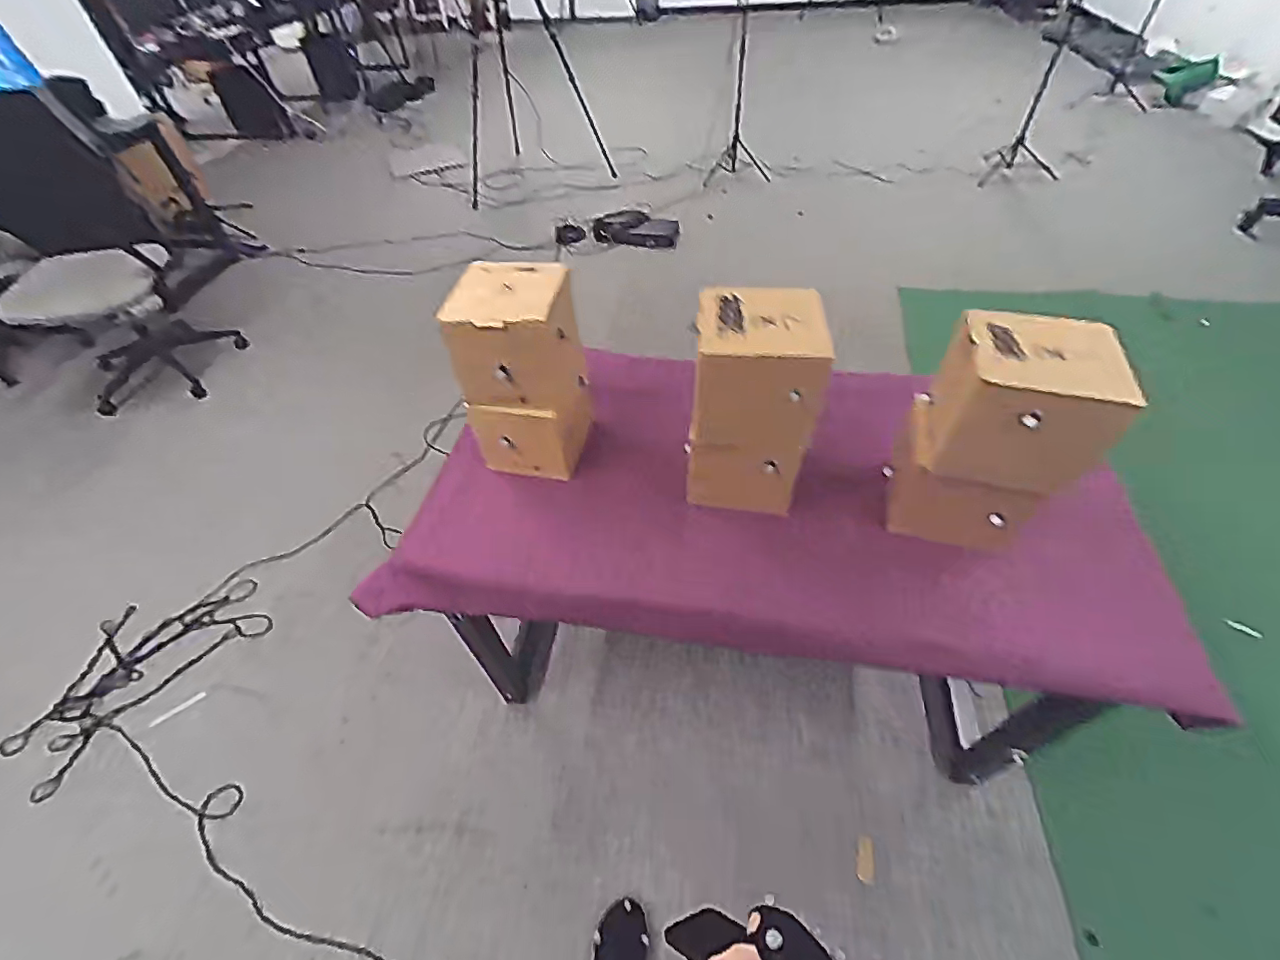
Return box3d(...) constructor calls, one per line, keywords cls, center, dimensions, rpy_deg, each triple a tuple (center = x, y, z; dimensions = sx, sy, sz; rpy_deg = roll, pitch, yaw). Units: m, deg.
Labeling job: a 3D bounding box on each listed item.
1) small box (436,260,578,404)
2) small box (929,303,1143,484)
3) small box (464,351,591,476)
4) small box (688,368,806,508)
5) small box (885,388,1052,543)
box3d(cls="small box", center=(-0.205, -0.242, 0.895), dimensions=(0.168, 0.176, 0.179), rpy_deg=(3, 50, 6))
box3d(cls="small box", center=(0.507, -0.115, 0.730), dimensions=(0.179, 0.176, 0.168), rpy_deg=(11, 50, 13))
box3d(cls="small box", center=(-0.197, -0.128, 1.013), dimensions=(0.168, 0.176, 0.179), rpy_deg=(7, 50, 10))
box3d(cls="small box", center=(0.181, -0.069, 0.931), dimensions=(0.179, 0.176, 0.168), rpy_deg=(6, 49, 10))
box3d(cls="small box", center=(0.511, -0.020, 0.864), dimensions=(0.179, 0.176, 0.168), rpy_deg=(11, 50, 14))
